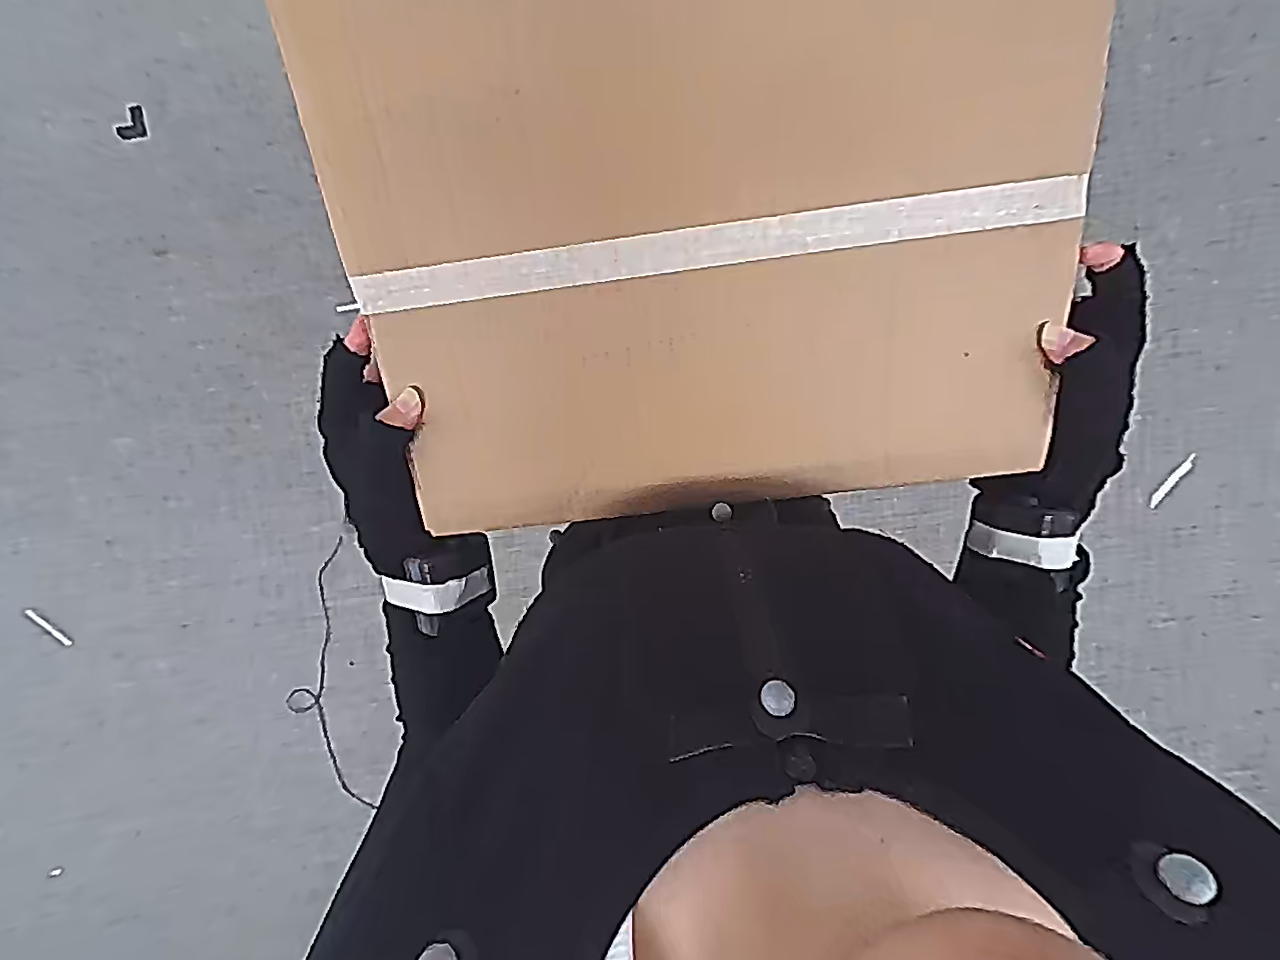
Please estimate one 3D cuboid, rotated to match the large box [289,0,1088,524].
[{"bbox_3d":[0.036,-0.186,0.450,0.408,0.320,0.320,-6,112,2],"label":"large box"}]
